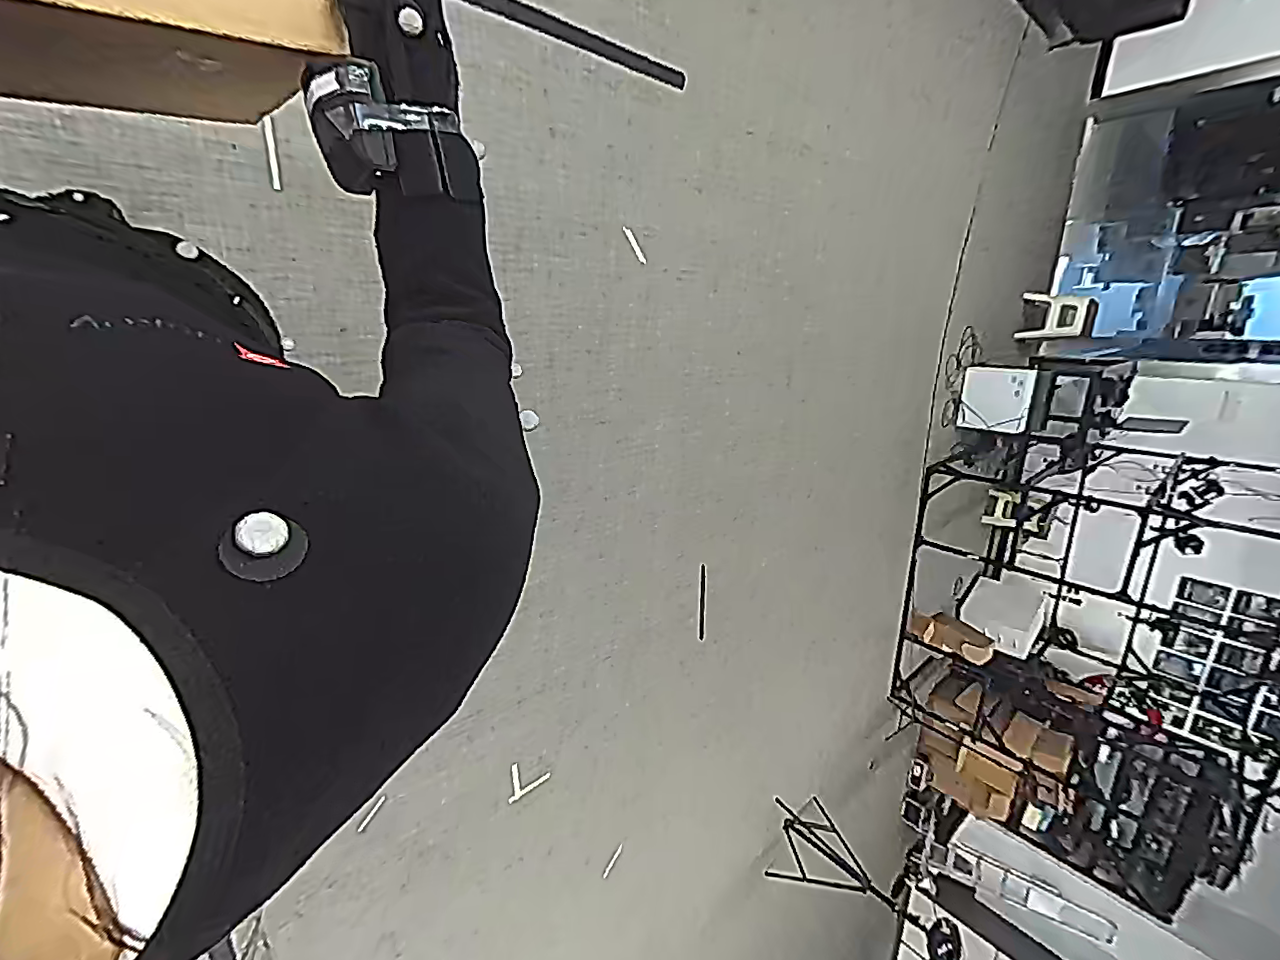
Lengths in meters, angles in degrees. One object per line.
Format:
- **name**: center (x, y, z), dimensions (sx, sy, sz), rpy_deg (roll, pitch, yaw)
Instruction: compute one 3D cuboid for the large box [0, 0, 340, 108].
- **large box**: center (-0.432, -0.396, 0.248), dimensions (0.408, 0.320, 0.320), rpy_deg (-22, 124, -38)
